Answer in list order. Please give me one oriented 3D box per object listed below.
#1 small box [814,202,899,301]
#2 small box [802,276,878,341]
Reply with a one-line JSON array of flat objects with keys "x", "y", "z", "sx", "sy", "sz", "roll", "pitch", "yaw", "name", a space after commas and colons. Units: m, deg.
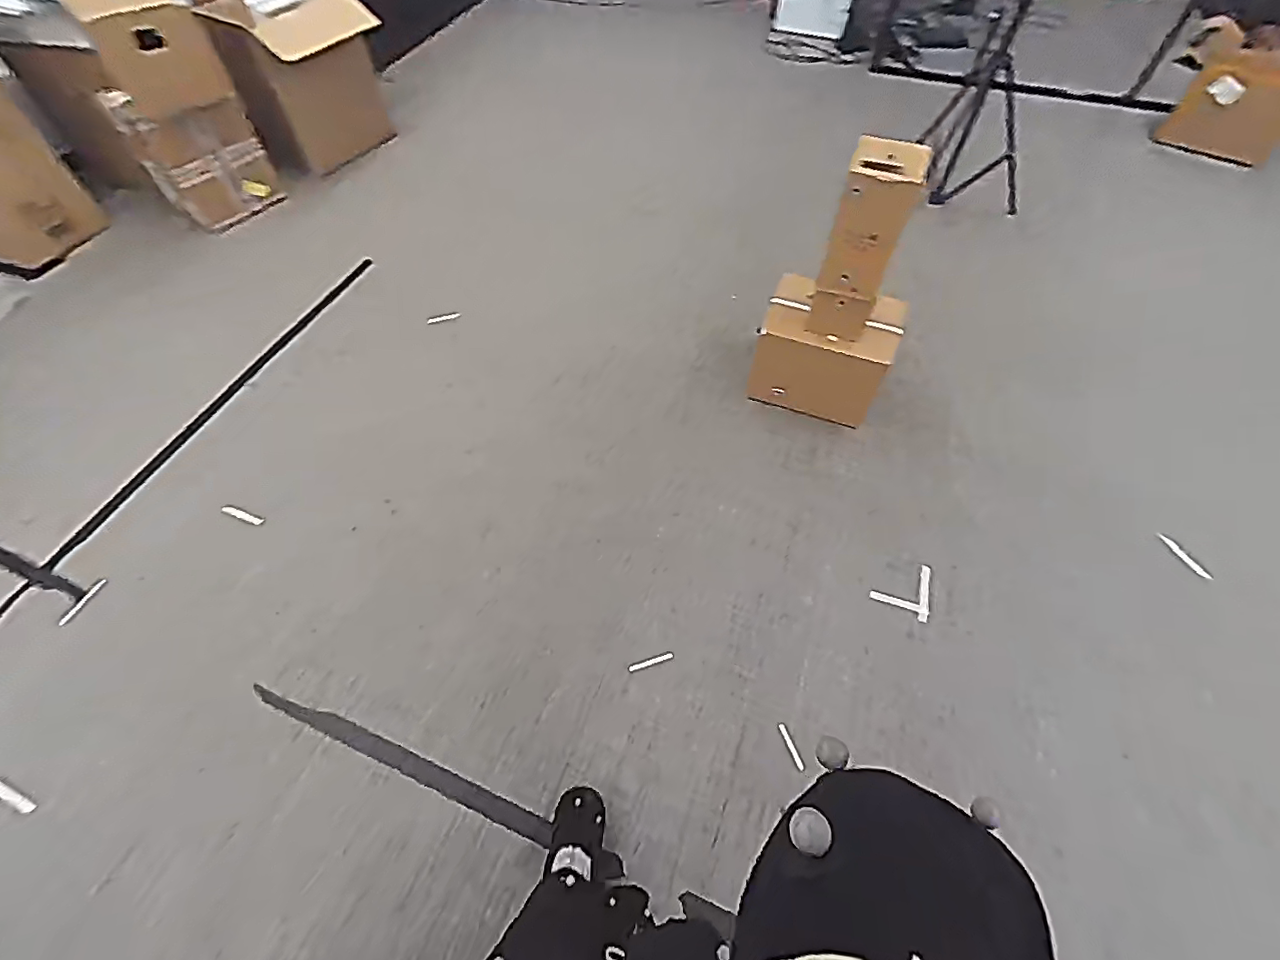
[{"x": 0.592, "y": -0.628, "z": 1.491, "sx": 0.168, "sy": 0.176, "sz": 0.179, "roll": 17, "pitch": 61, "yaw": 12, "name": "small box"}, {"x": 0.603, "y": -0.547, "z": 1.632, "sx": 0.179, "sy": 0.176, "sz": 0.168, "roll": 17, "pitch": 61, "yaw": 11, "name": "small box"}]
